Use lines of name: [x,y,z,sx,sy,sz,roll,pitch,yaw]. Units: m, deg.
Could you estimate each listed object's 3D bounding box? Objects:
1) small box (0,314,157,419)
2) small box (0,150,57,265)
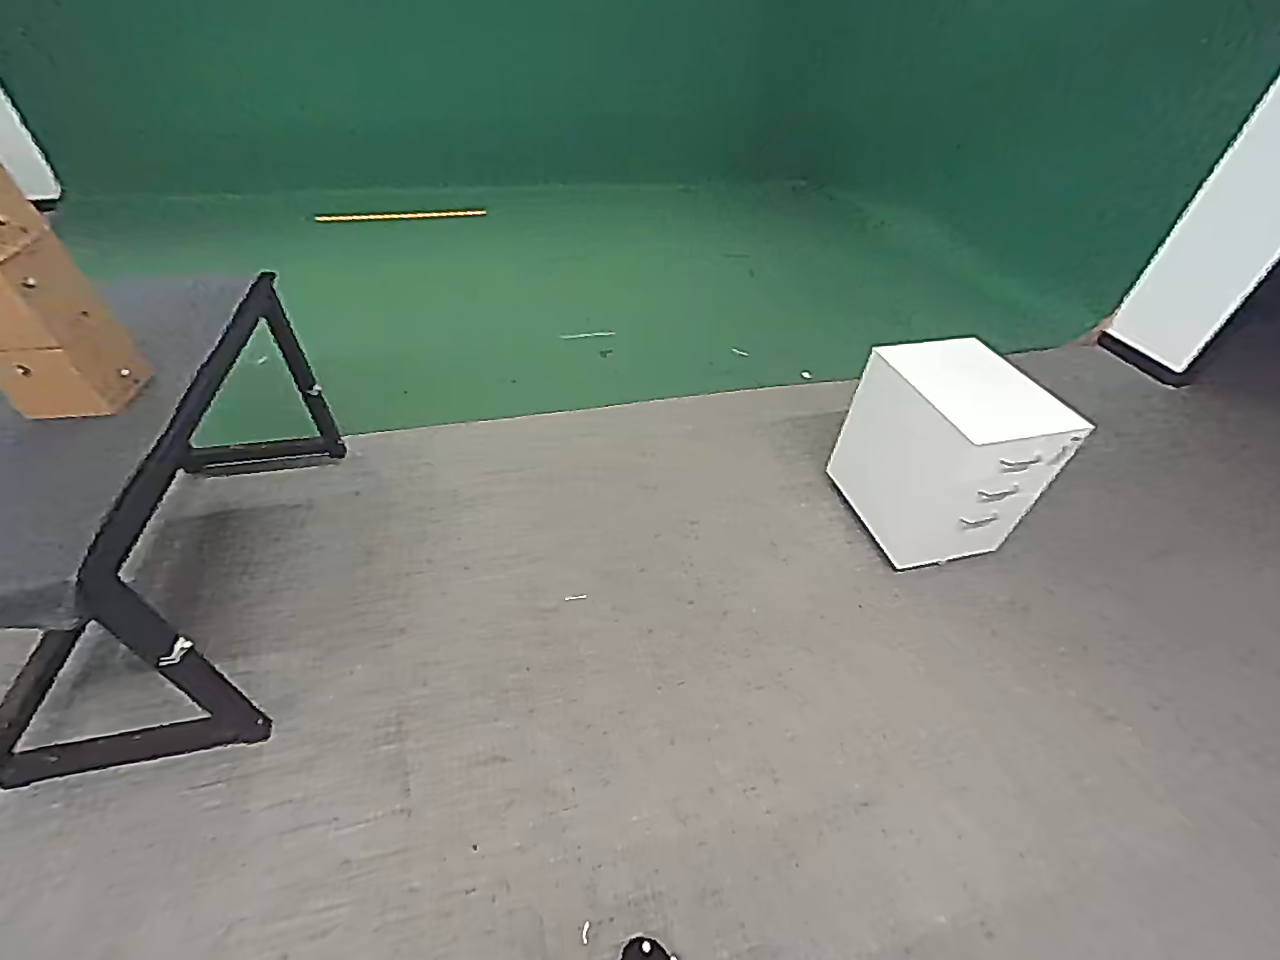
small box: [-1.232,-0.246,1.180,0.179,0.176,0.168,-4,44,-6]
small box: [-1.226,-0.482,0.955,0.179,0.176,0.168,-7,44,-9]
